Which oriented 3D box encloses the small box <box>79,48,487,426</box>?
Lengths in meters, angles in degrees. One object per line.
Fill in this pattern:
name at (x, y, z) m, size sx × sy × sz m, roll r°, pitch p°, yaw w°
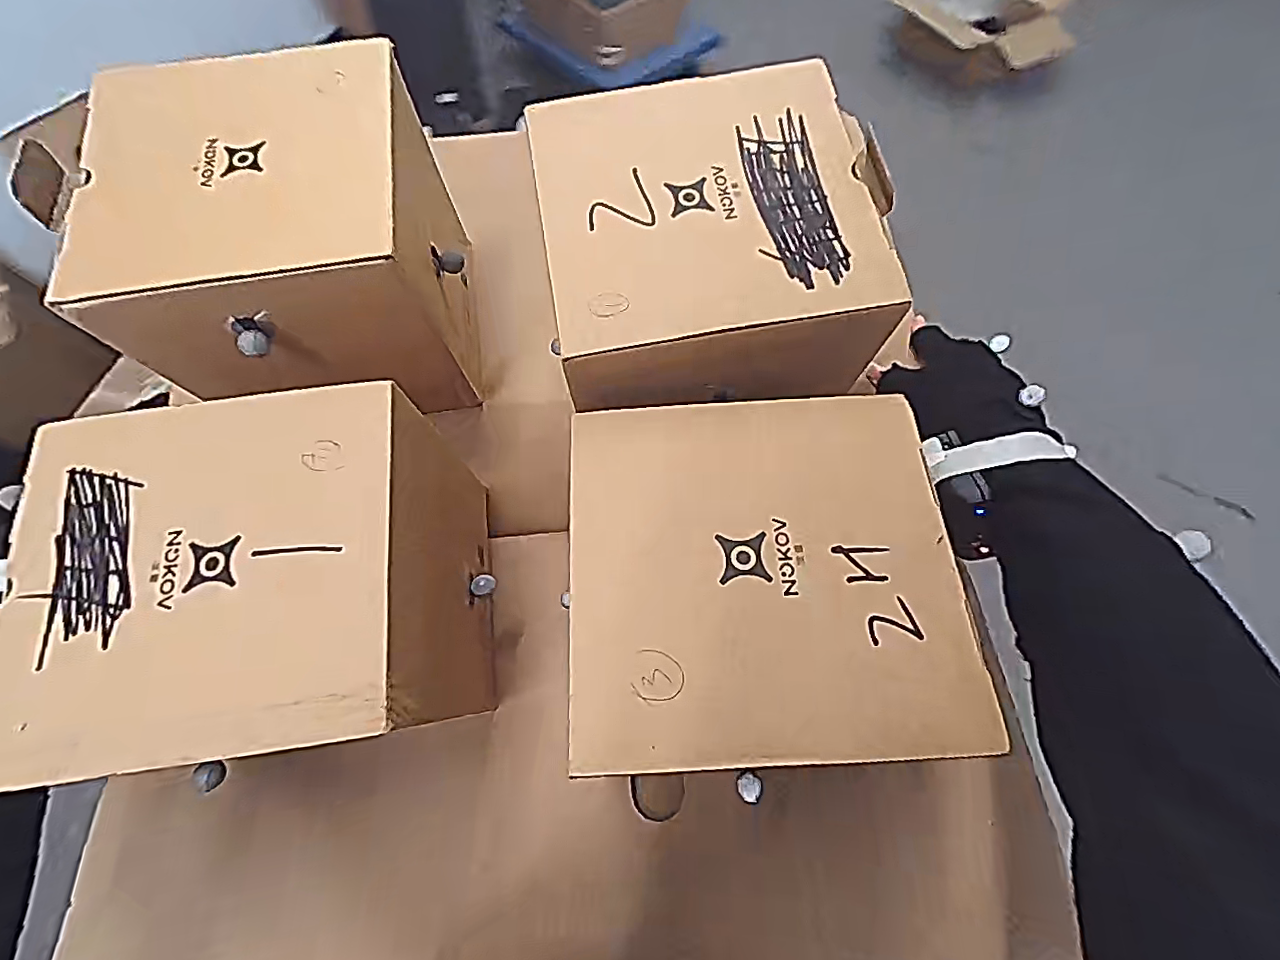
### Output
small box at (-0.214, -0.153, 0.383) m, size 0.179 × 0.176 × 0.168 m, roll -8°, pitch 71°, yaw -1°
